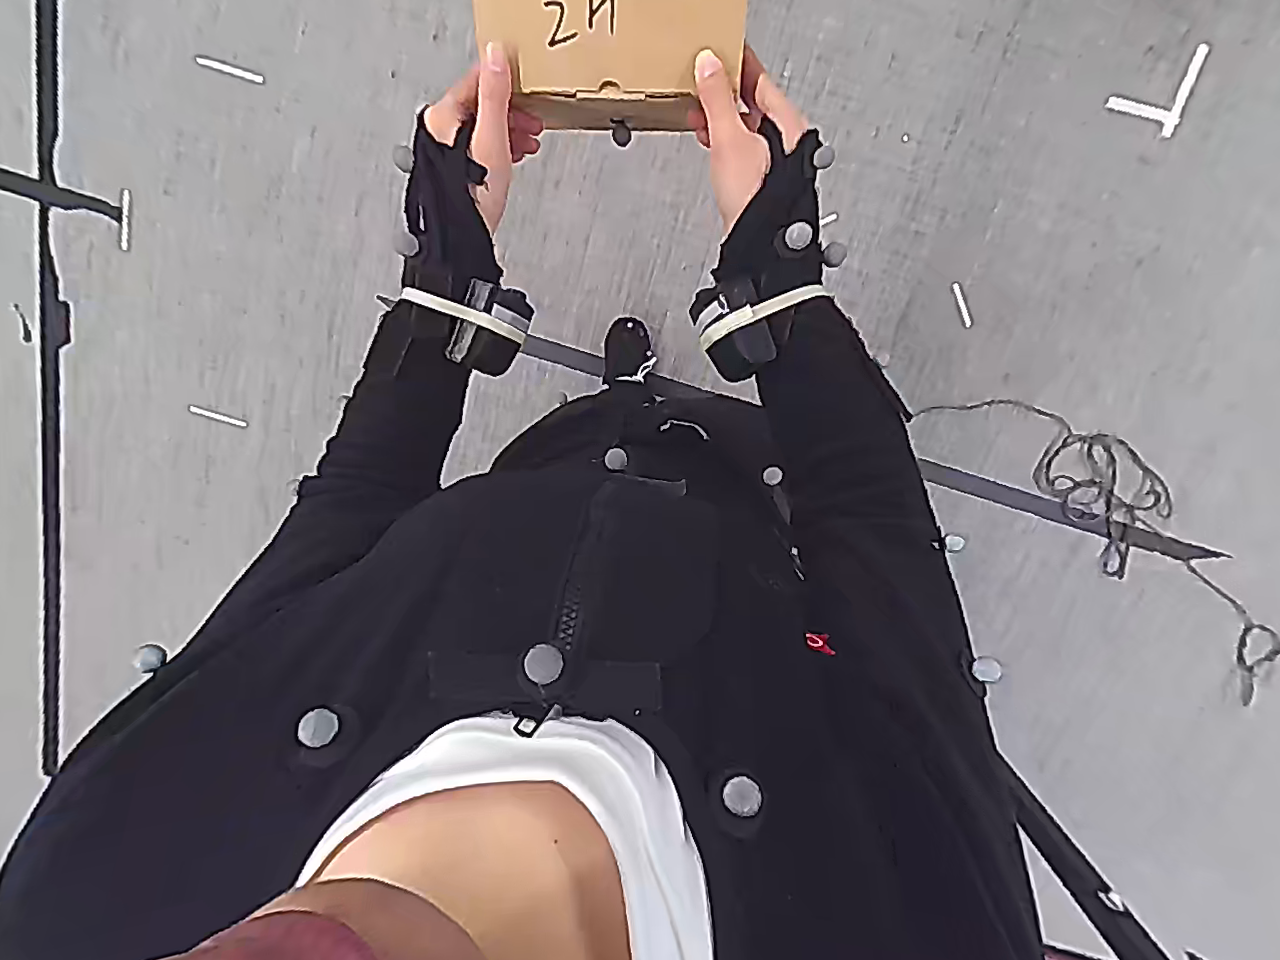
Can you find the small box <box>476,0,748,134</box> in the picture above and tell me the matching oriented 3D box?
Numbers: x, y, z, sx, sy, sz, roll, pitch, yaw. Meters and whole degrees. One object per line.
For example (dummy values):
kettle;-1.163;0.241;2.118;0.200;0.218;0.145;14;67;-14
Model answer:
small box;-0.013;-0.358;0.377;0.168;0.176;0.179;3;117;2
